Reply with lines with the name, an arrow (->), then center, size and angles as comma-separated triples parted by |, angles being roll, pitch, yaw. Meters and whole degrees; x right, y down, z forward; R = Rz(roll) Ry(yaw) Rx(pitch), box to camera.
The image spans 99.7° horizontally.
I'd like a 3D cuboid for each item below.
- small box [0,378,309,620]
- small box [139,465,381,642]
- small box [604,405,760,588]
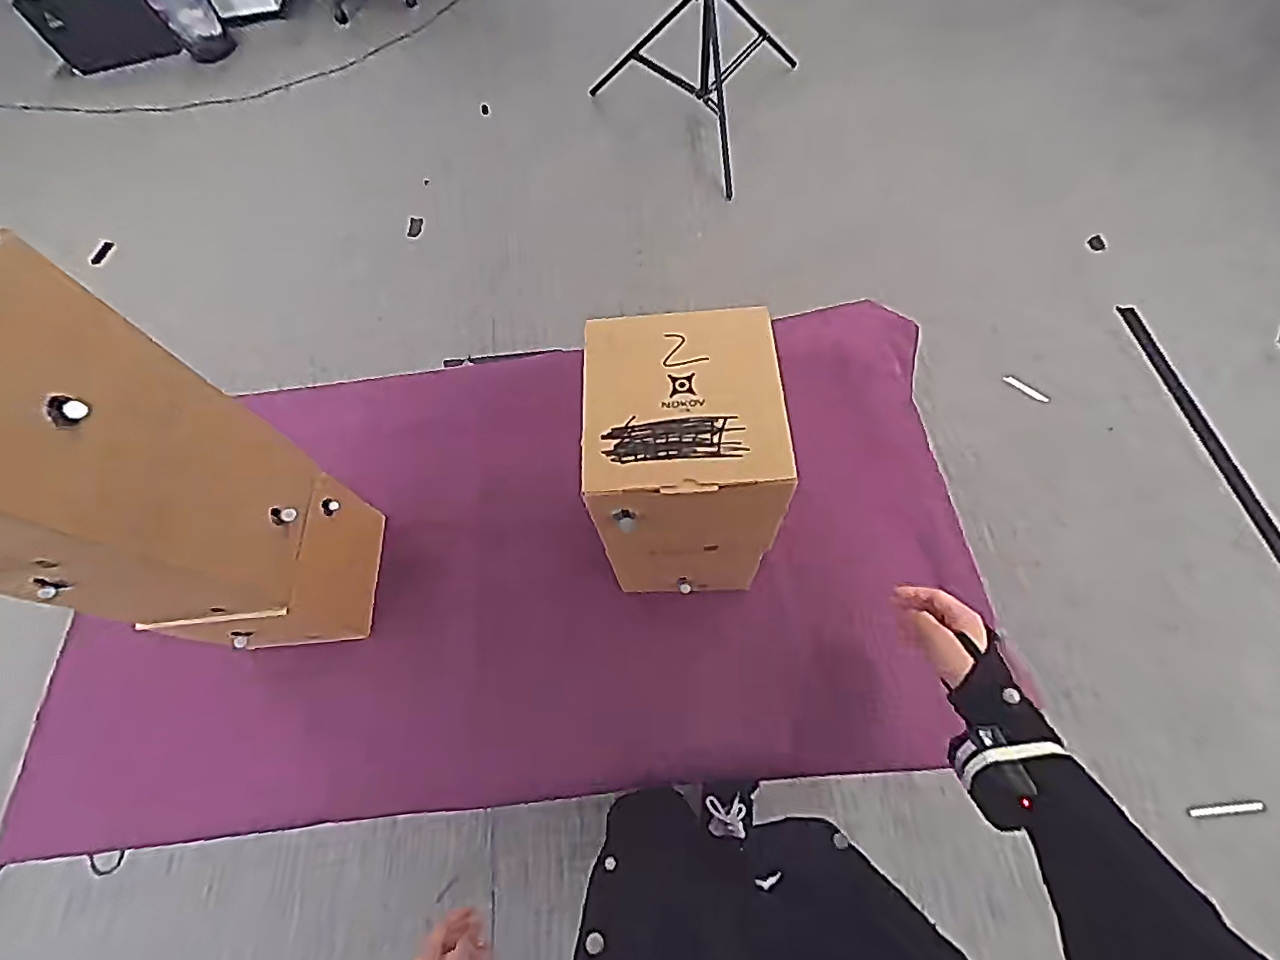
small box -> -0.461, 0.026, 0.529 | 0.168, 0.176, 0.179 | -7, 64, 1
small box -> -0.448, 0.101, 0.674 | 0.168, 0.176, 0.179 | -6, 64, 2
small box -> 0.050, 0.027, 0.668 | 0.168, 0.176, 0.179 | -2, 65, 4
